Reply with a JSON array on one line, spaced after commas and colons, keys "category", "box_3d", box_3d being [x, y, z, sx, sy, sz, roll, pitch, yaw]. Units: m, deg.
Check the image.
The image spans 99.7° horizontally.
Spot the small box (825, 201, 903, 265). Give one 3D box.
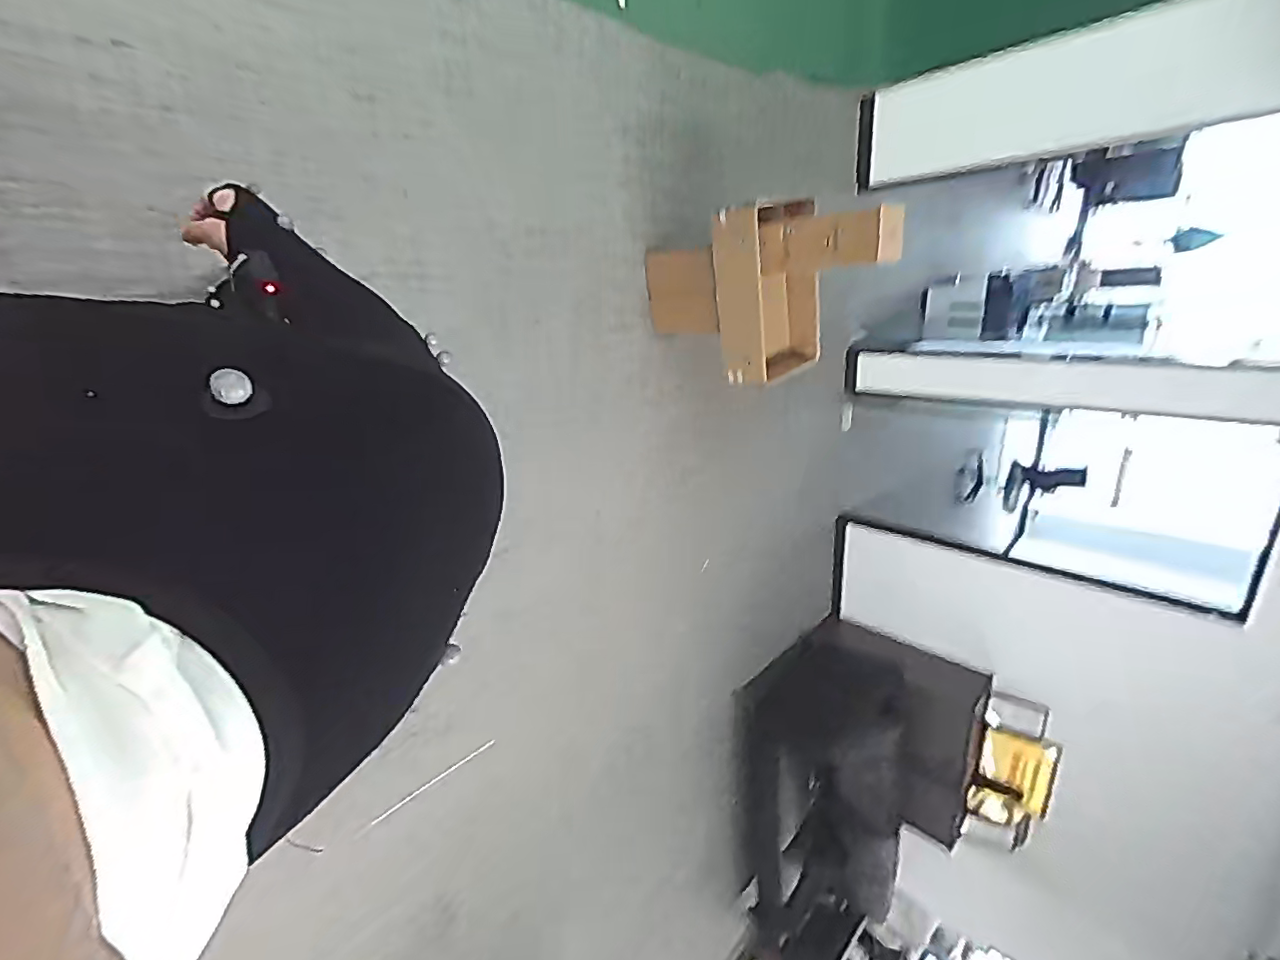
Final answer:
[{"category": "small box", "box_3d": [0.706, -0.777, 1.708, 0.179, 0.176, 0.168, -23, 117, -40]}]

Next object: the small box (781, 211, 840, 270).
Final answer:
[{"category": "small box", "box_3d": [0.589, -0.804, 1.819, 0.179, 0.176, 0.168, -25, 119, -40]}]

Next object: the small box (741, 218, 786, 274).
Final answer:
[{"category": "small box", "box_3d": [0.473, -0.838, 1.930, 0.179, 0.176, 0.168, -30, 121, -38]}]
